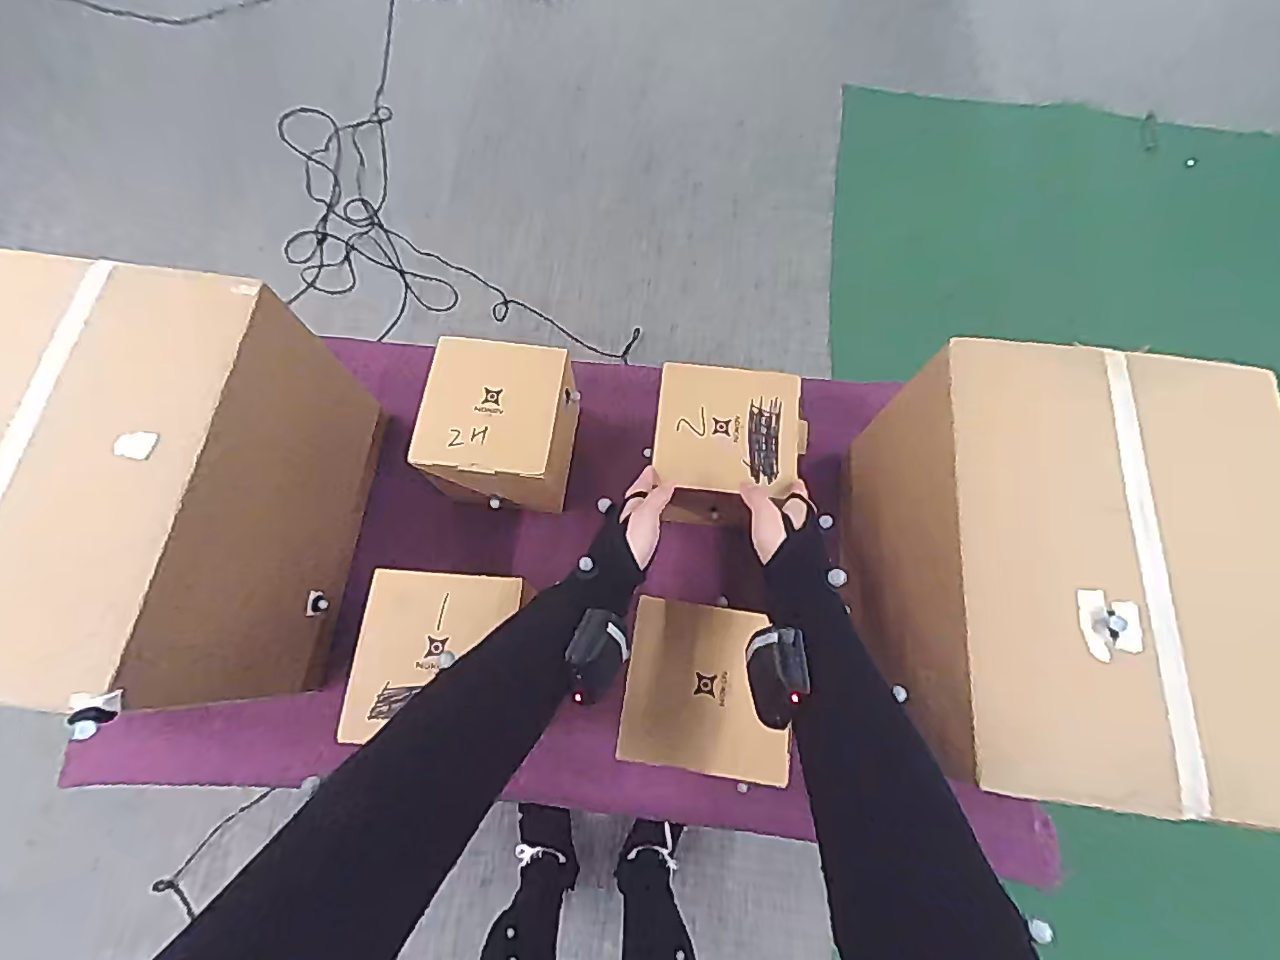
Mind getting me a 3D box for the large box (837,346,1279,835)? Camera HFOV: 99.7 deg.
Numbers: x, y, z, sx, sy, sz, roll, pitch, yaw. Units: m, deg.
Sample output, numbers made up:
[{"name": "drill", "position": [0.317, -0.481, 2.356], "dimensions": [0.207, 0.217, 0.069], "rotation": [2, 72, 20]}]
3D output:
[{"name": "large box", "position": [0.428, 0.115, 0.609], "dimensions": [0.320, 0.320, 0.408], "rotation": [7, 72, 3]}]
